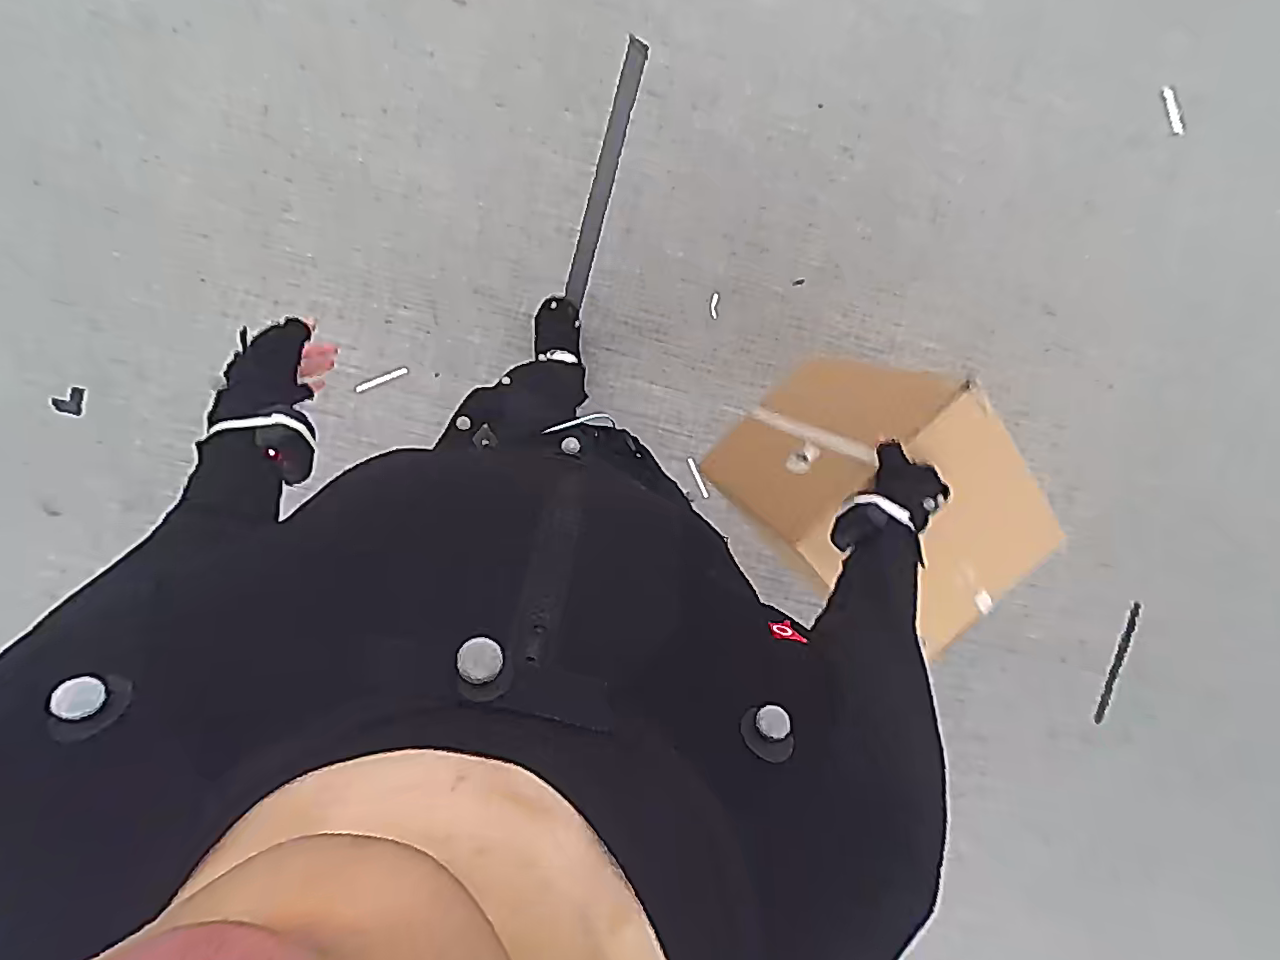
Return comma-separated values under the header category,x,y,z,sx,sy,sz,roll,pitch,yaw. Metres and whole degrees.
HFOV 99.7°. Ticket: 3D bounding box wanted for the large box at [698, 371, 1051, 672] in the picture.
category,x,y,z,sx,sy,sz,roll,pitch,yaw
large box,0.365,0.038,0.933,0.320,0.408,0.320,-43,111,0
